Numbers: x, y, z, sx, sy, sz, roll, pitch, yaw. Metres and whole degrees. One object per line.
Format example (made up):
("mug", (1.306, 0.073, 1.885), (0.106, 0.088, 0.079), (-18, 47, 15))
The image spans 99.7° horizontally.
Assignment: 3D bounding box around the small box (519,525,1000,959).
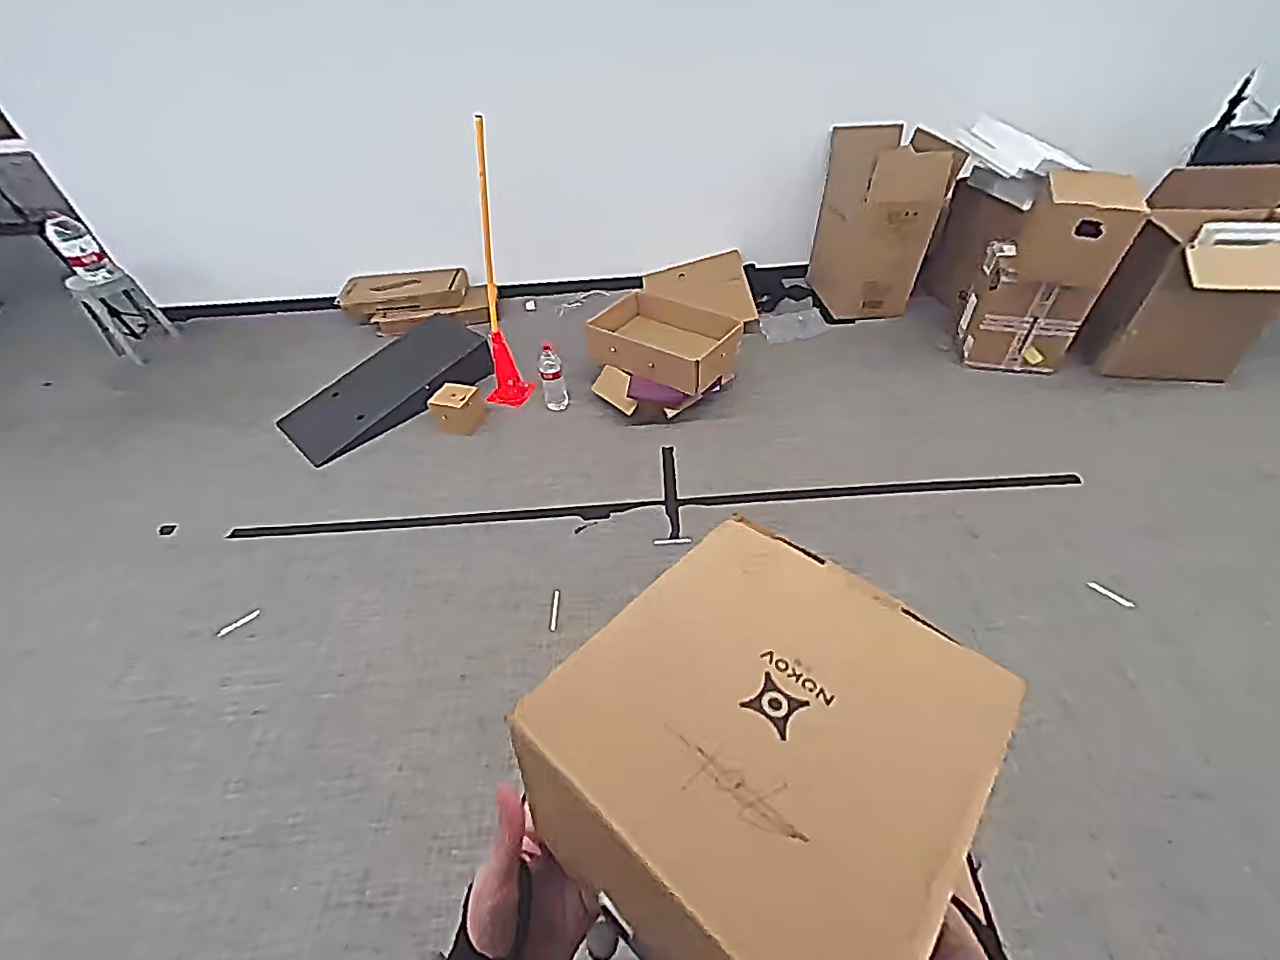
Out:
("small box", (0.056, 0.165, 0.304), (0.168, 0.176, 0.179), (31, 49, 29))
